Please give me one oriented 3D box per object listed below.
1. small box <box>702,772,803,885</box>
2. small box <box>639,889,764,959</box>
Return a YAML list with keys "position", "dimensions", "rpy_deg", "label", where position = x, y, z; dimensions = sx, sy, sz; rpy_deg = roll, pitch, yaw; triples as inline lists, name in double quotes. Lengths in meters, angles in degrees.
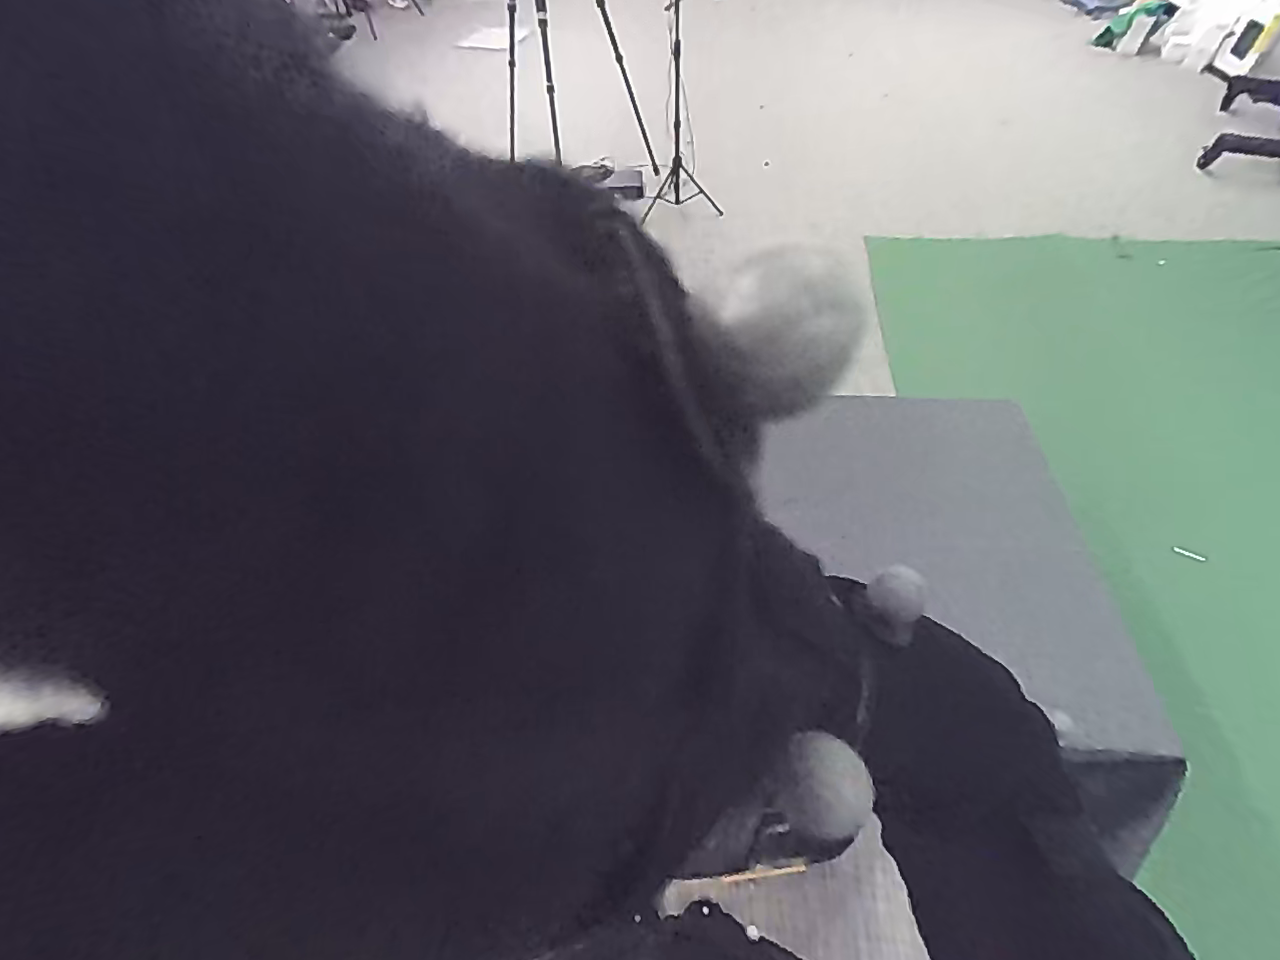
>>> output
- position: [0.230, 0.749, 1.159]
  dimensions: [0.168, 0.176, 0.179]
  rpy_deg: [-7, 52, -2]
  label: "small box"
- position: [0.113, 0.949, 1.022]
  dimensions: [0.179, 0.176, 0.168]
  rpy_deg: [-15, 19, -36]
  label: "small box"
